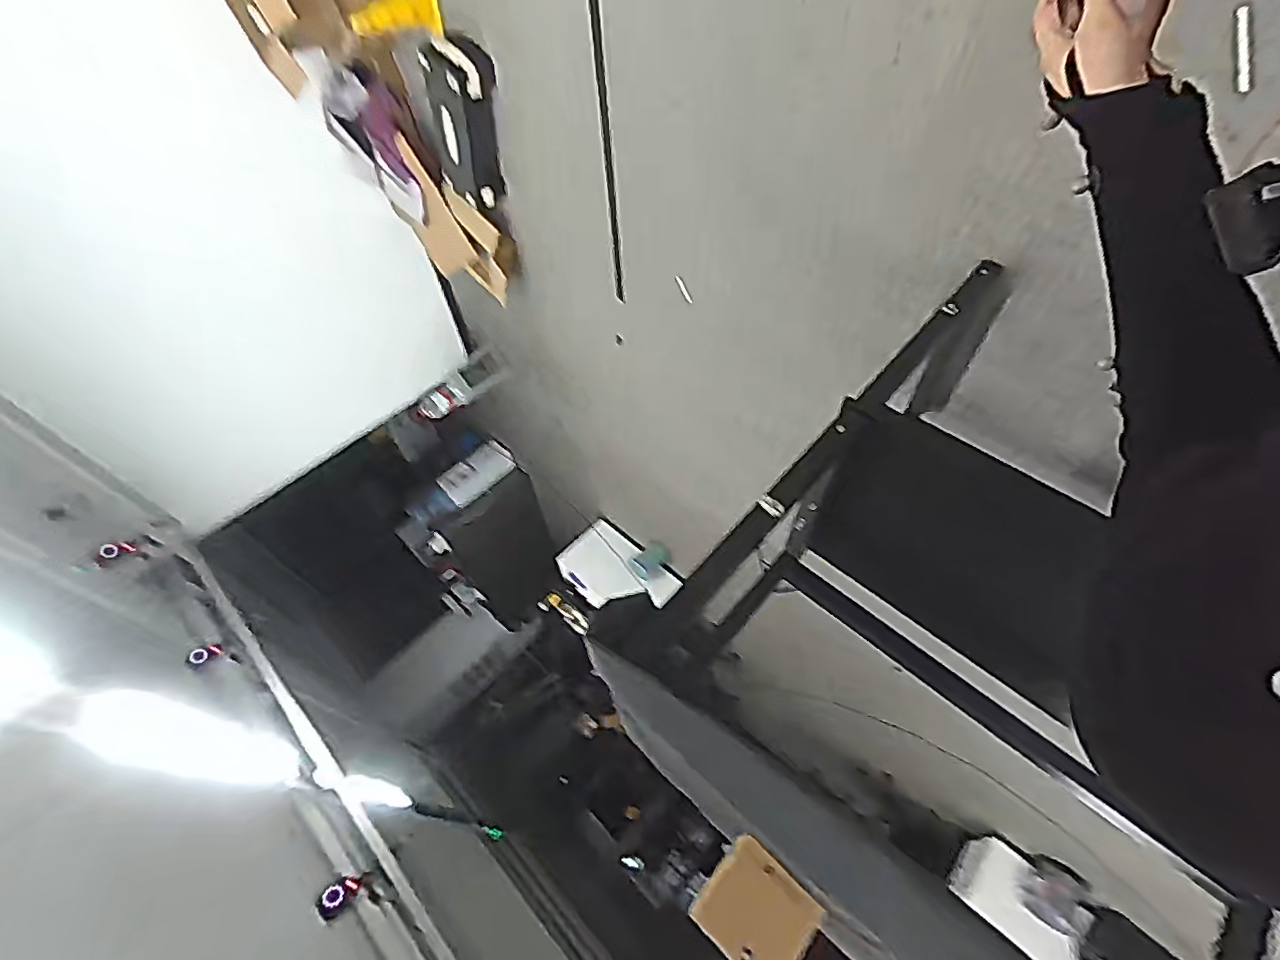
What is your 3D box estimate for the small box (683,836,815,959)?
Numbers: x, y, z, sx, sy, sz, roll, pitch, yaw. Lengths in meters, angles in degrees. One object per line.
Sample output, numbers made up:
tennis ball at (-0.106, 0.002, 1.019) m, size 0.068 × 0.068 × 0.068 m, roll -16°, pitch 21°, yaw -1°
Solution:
small box at (0.196, 0.789, 0.989) m, size 0.168 × 0.176 × 0.179 m, roll 36°, pitch 154°, yaw 26°
